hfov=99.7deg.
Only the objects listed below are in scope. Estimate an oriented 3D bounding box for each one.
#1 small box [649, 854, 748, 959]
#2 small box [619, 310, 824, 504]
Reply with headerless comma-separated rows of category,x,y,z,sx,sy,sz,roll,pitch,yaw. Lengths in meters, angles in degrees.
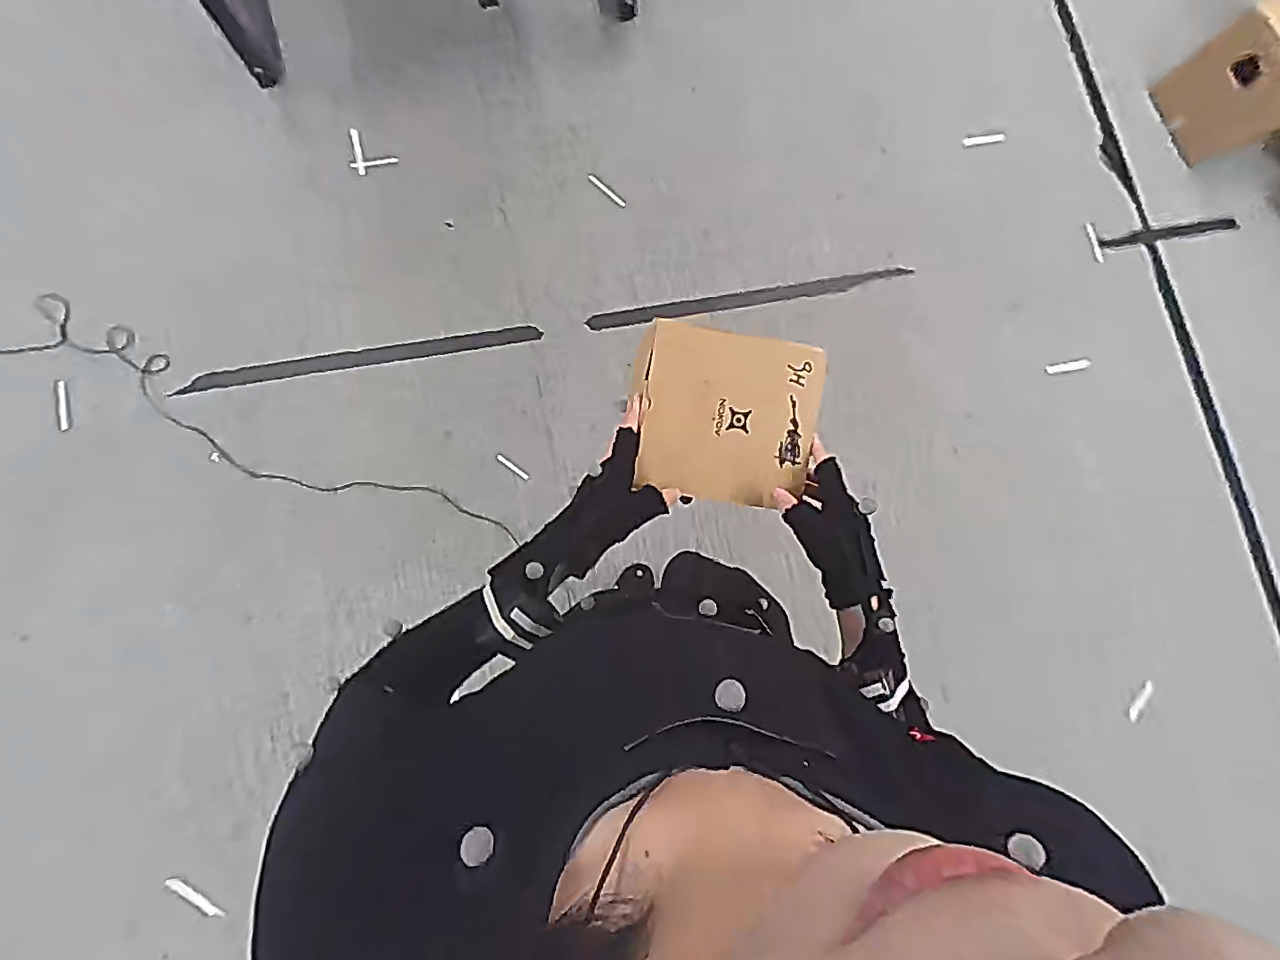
small box,0.122,0.962,1.183,0.168,0.176,0.179,-16,85,-5
small box,0.074,-0.071,0.597,0.179,0.176,0.168,8,92,-7
